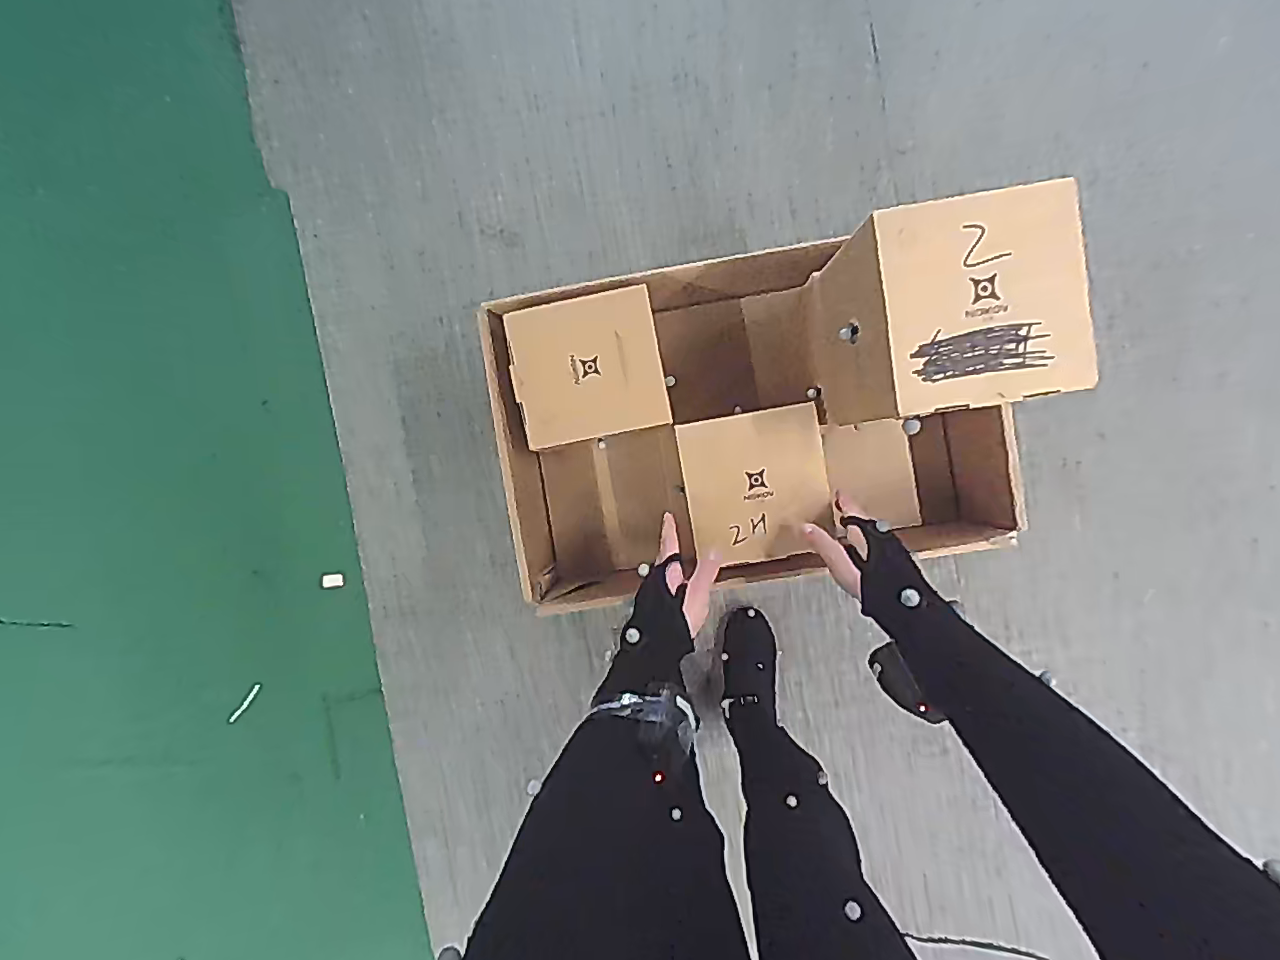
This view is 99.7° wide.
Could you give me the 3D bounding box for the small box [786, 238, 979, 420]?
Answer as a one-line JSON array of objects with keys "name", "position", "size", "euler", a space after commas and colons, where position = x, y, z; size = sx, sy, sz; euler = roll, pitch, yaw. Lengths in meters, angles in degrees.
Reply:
[{"name": "small box", "position": [0.292, -0.177, 0.688], "size": [0.168, 0.176, 0.179], "euler": [-9, 93, 4]}]
